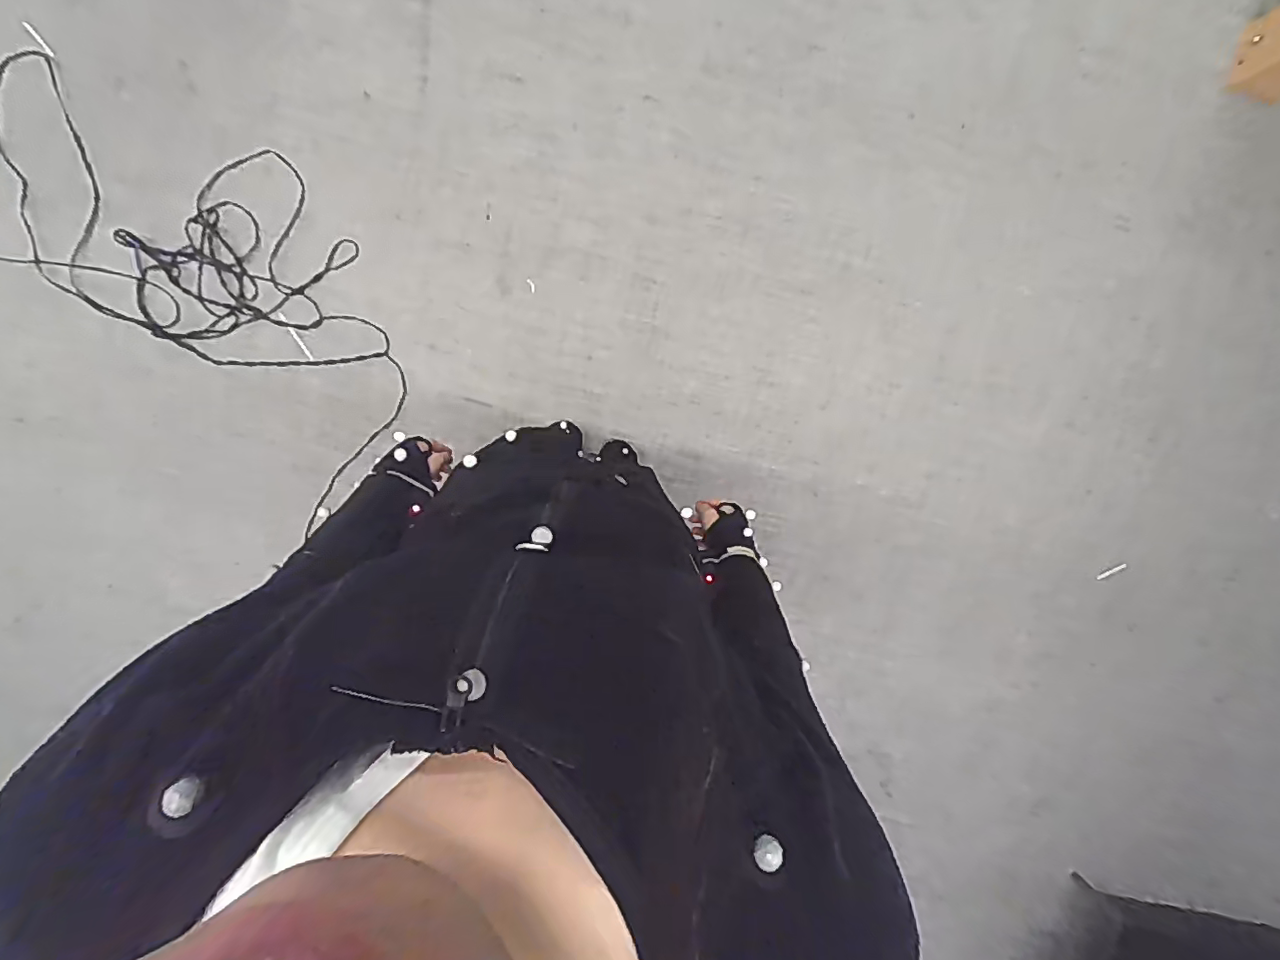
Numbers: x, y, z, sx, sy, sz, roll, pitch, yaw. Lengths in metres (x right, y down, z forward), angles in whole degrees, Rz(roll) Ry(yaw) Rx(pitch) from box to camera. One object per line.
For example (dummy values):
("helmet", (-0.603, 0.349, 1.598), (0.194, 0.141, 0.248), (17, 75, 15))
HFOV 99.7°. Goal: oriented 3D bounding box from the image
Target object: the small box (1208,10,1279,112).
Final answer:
("small box", (1.684, -1.113, 1.424), (0.179, 0.176, 0.168), (14, 95, -5))
